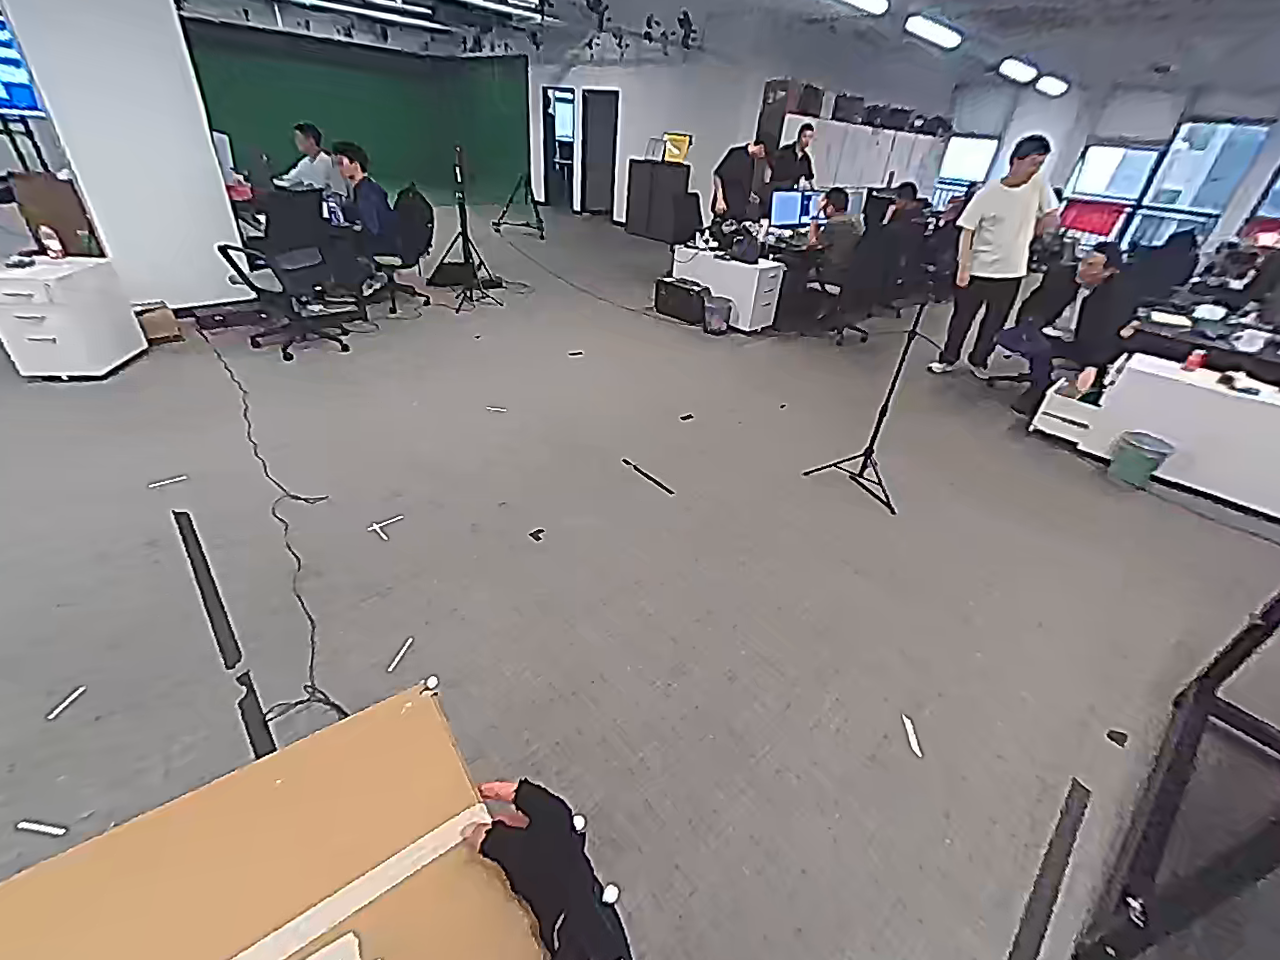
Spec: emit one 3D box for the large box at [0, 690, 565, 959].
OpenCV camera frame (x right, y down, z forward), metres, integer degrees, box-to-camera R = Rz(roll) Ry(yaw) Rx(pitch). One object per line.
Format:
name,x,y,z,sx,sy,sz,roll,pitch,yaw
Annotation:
large box,-0.315,0.483,0.481,0.408,0.320,0.320,-18,47,-33
